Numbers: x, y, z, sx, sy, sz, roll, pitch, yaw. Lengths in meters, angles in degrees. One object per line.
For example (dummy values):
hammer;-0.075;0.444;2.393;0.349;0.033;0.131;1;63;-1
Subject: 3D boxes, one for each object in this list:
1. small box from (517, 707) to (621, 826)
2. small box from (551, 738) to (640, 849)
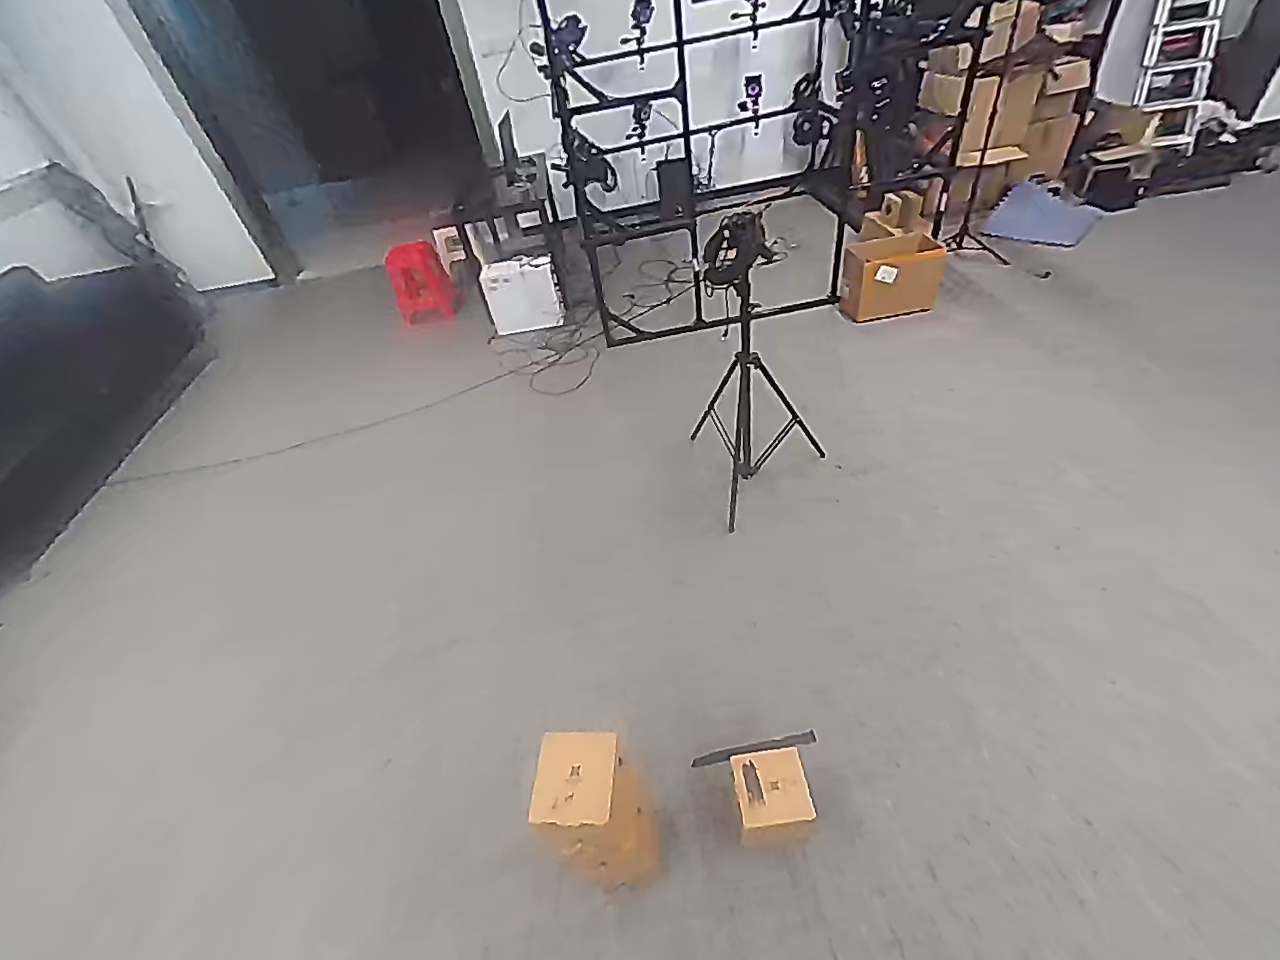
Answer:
small box;-0.137;0.593;1.125;0.168;0.176;0.179;-4;44;9
small box;-0.094;0.714;1.230;0.168;0.176;0.179;-8;44;5
